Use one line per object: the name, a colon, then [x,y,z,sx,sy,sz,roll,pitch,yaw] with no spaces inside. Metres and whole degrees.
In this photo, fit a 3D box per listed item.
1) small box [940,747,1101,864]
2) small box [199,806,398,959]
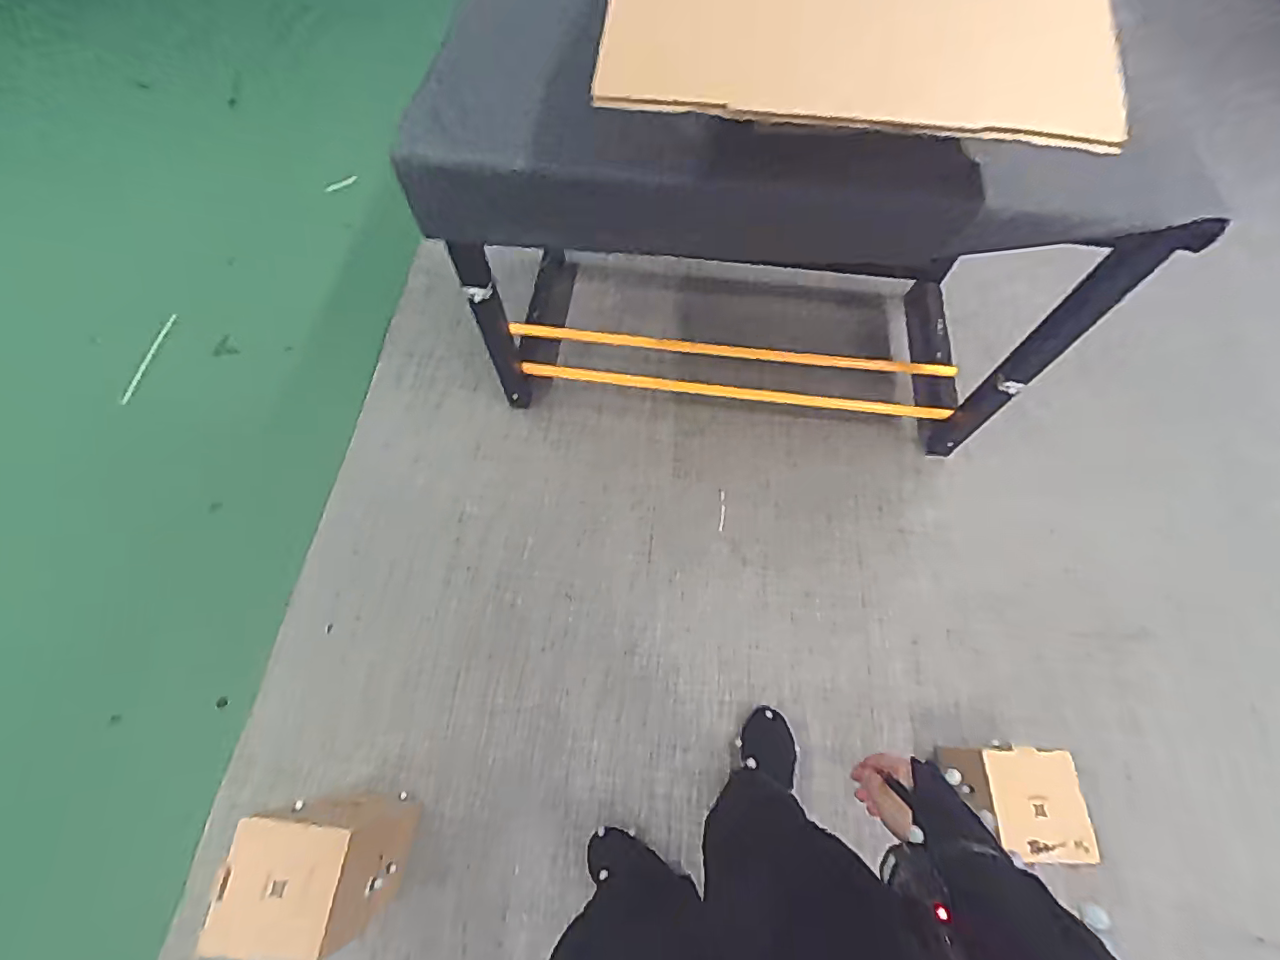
small box: [0.702,0.608,1.025,0.168,0.176,0.179,0,64,0]
small box: [-0.512,0.618,0.842,0.179,0.176,0.168,5,66,2]
